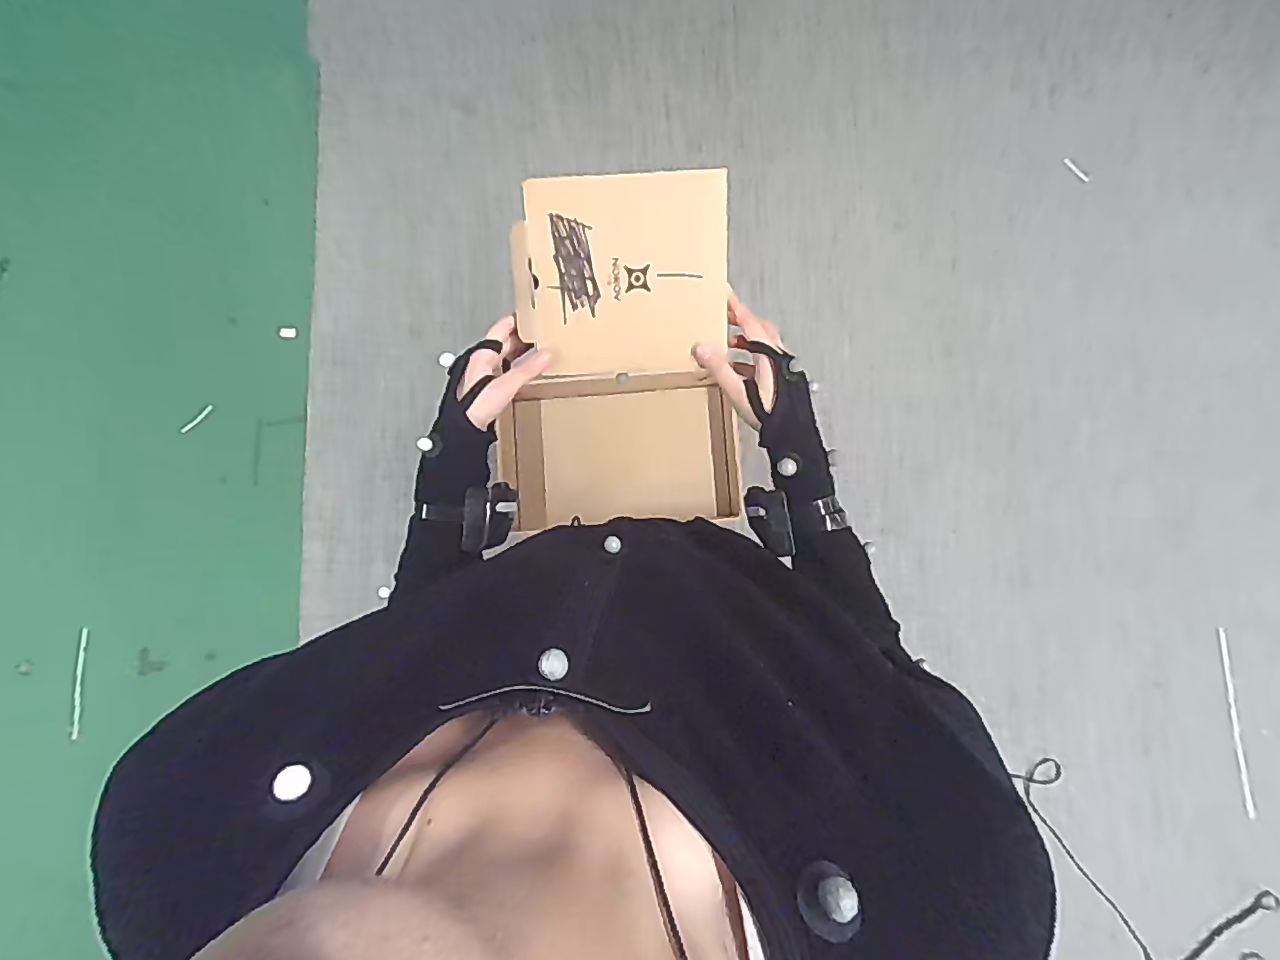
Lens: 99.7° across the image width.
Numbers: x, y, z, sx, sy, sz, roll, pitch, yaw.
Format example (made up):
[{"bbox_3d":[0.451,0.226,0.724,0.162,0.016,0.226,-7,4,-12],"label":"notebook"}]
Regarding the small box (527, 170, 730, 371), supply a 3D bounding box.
[{"bbox_3d":[-0.005,-0.201,0.554,0.179,0.176,0.168,-2,106,3],"label":"small box"}]
